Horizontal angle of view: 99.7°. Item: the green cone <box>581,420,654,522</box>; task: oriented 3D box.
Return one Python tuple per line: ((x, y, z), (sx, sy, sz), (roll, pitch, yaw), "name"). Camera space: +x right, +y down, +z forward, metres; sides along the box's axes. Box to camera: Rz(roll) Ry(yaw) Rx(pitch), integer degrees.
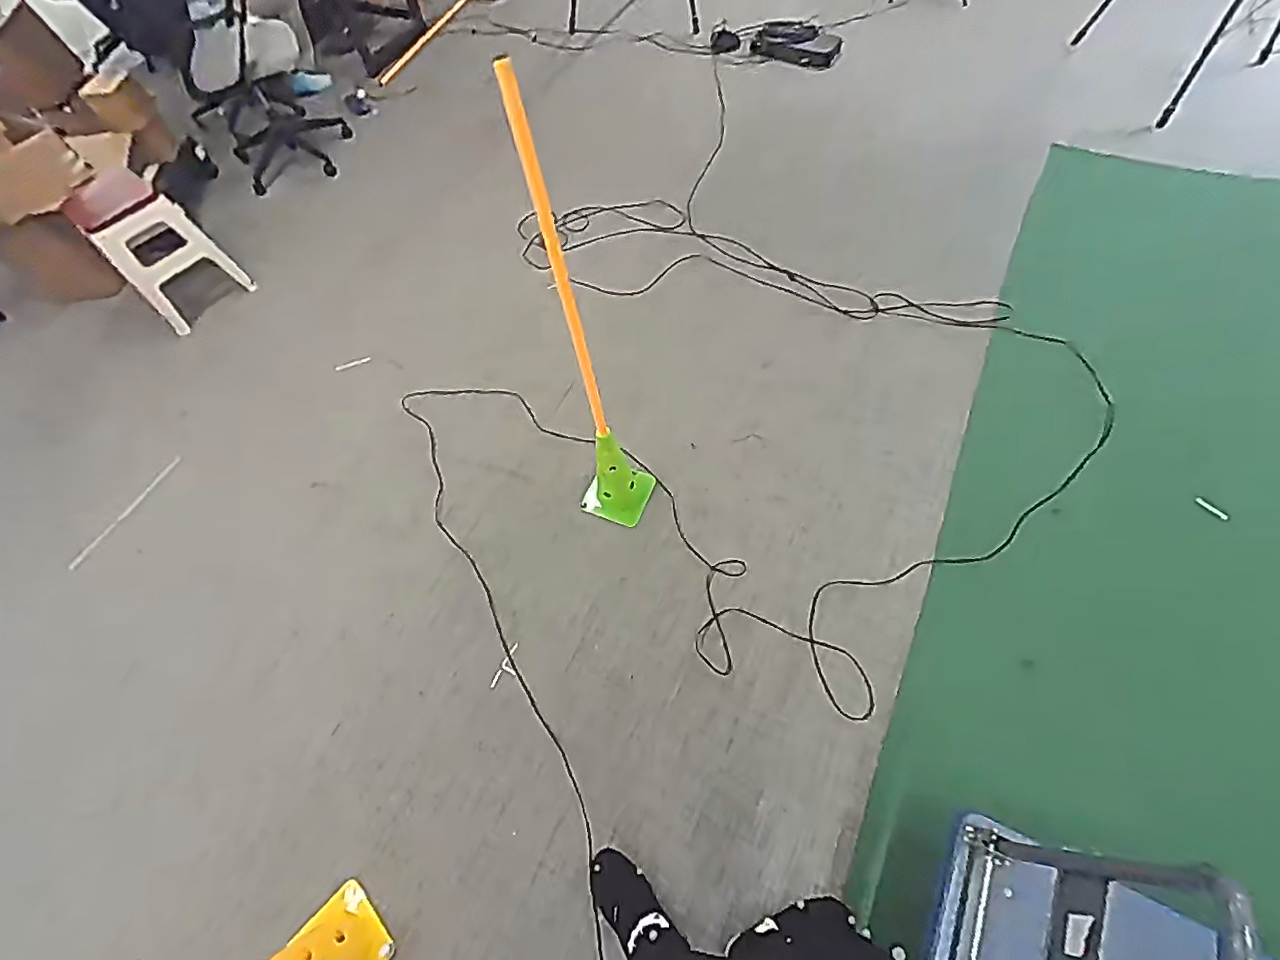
((-0.086, -0.053, 1.629), (0.200, 0.368, 0.202), (18, 63, 15), "green cone")
